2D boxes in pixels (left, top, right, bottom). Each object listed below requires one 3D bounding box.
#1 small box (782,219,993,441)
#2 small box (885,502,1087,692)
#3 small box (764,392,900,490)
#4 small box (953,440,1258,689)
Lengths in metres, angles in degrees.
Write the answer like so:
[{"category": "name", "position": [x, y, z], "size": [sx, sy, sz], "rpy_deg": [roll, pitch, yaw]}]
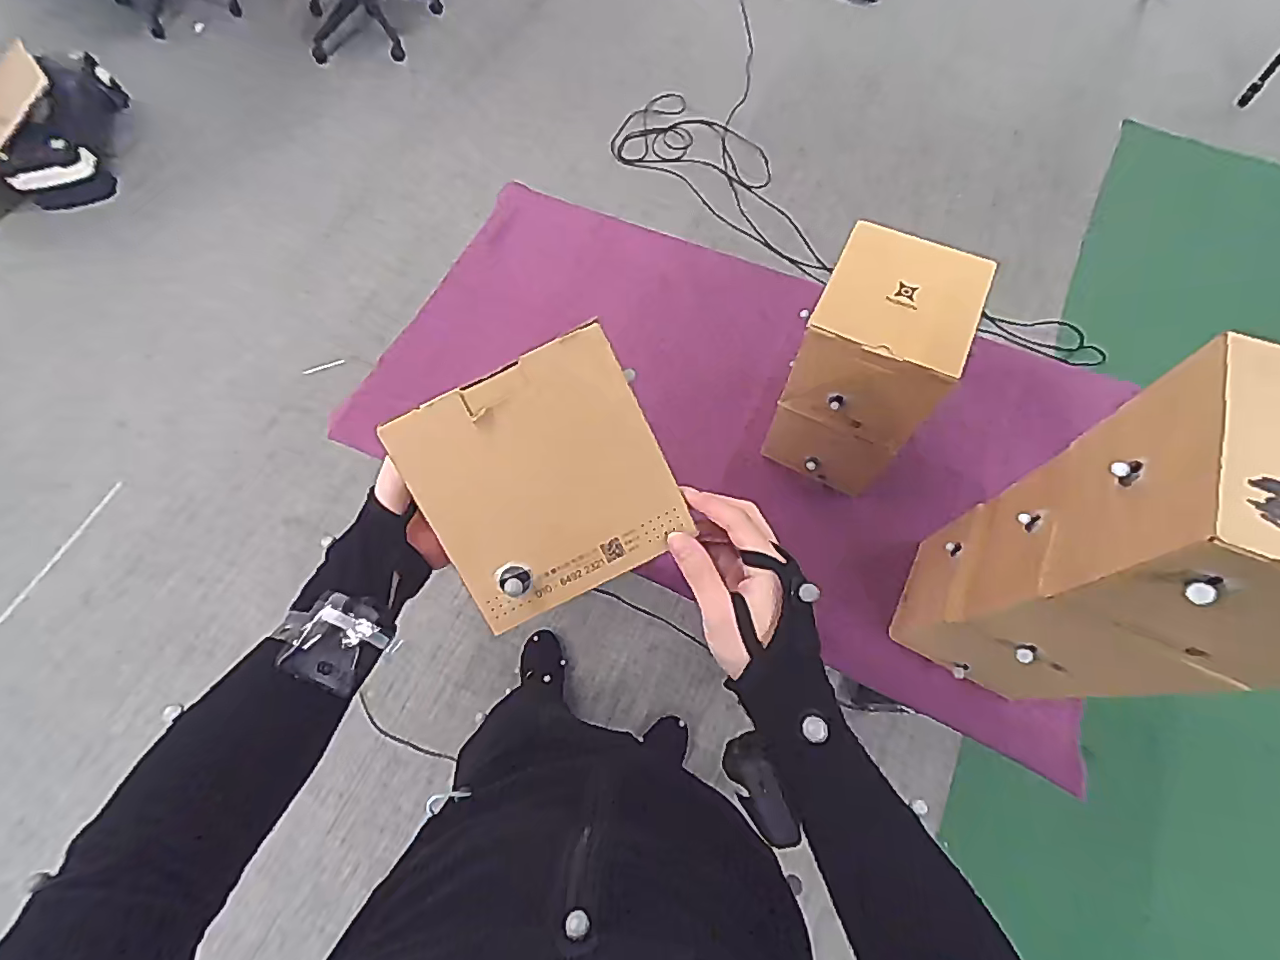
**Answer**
[{"category": "small box", "position": [0.296, -0.179, 0.680], "size": [0.168, 0.176, 0.179], "rpy_deg": [25, 72, 10]}, {"category": "small box", "position": [0.462, 0.160, 0.713], "size": [0.179, 0.176, 0.168], "rpy_deg": [27, 70, 13]}, {"category": "small box", "position": [0.306, -0.115, 0.829], "size": [0.168, 0.176, 0.179], "rpy_deg": [27, 71, 12]}, {"category": "small box", "position": [0.462, 0.095, 0.562], "size": [0.168, 0.176, 0.179], "rpy_deg": [26, 70, 14]}]
